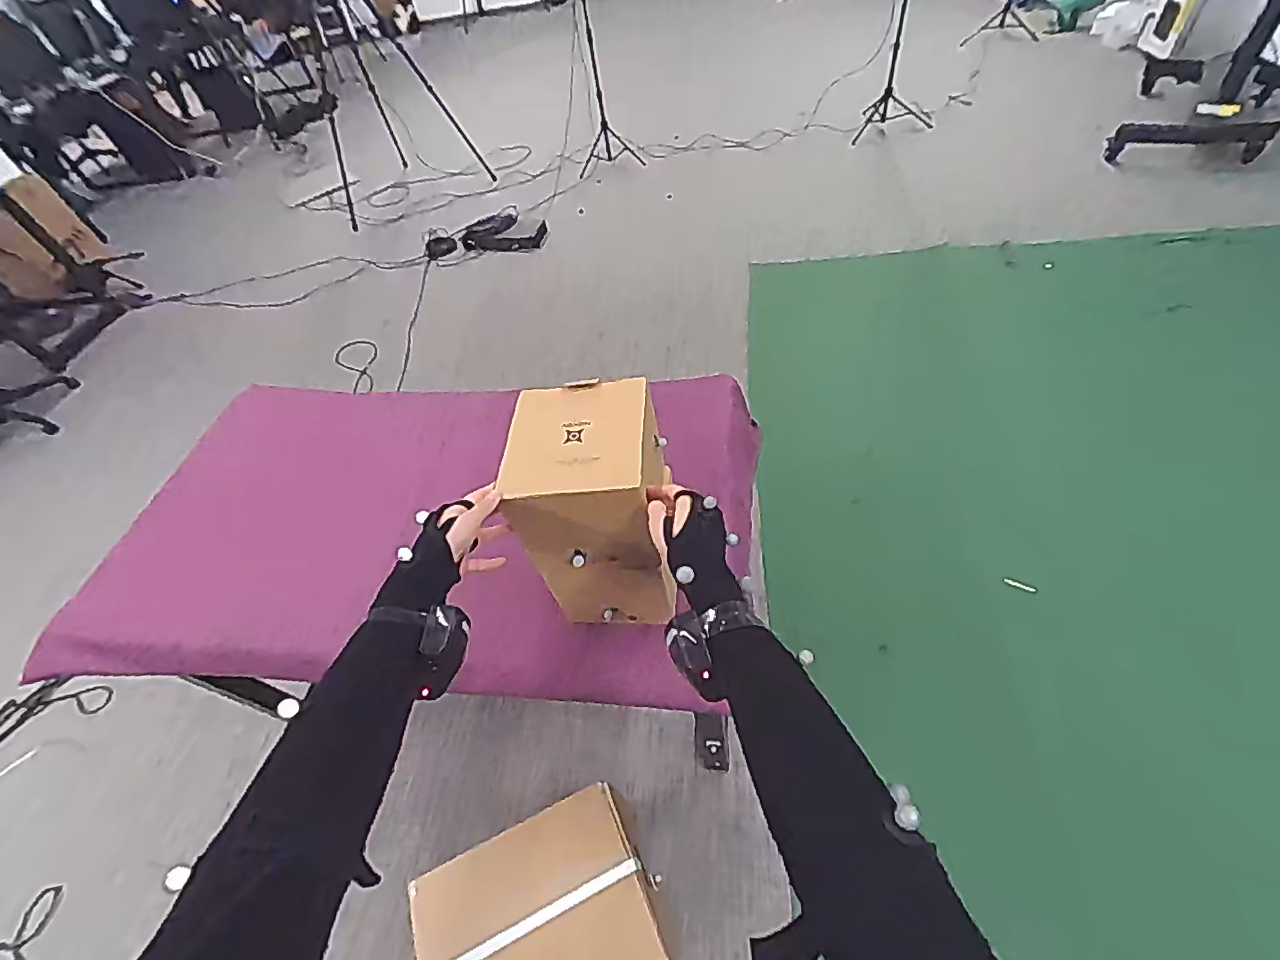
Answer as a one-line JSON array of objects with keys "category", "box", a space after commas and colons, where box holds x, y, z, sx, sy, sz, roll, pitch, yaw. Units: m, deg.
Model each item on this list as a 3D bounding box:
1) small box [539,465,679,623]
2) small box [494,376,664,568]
[{"category": "small box", "box": [-0.034, 0.096, 0.809, 0.168, 0.176, 0.179, -1, 51, 10]}, {"category": "small box", "box": [-0.062, -0.007, 0.686, 0.168, 0.176, 0.179, -4, 51, 9]}]
